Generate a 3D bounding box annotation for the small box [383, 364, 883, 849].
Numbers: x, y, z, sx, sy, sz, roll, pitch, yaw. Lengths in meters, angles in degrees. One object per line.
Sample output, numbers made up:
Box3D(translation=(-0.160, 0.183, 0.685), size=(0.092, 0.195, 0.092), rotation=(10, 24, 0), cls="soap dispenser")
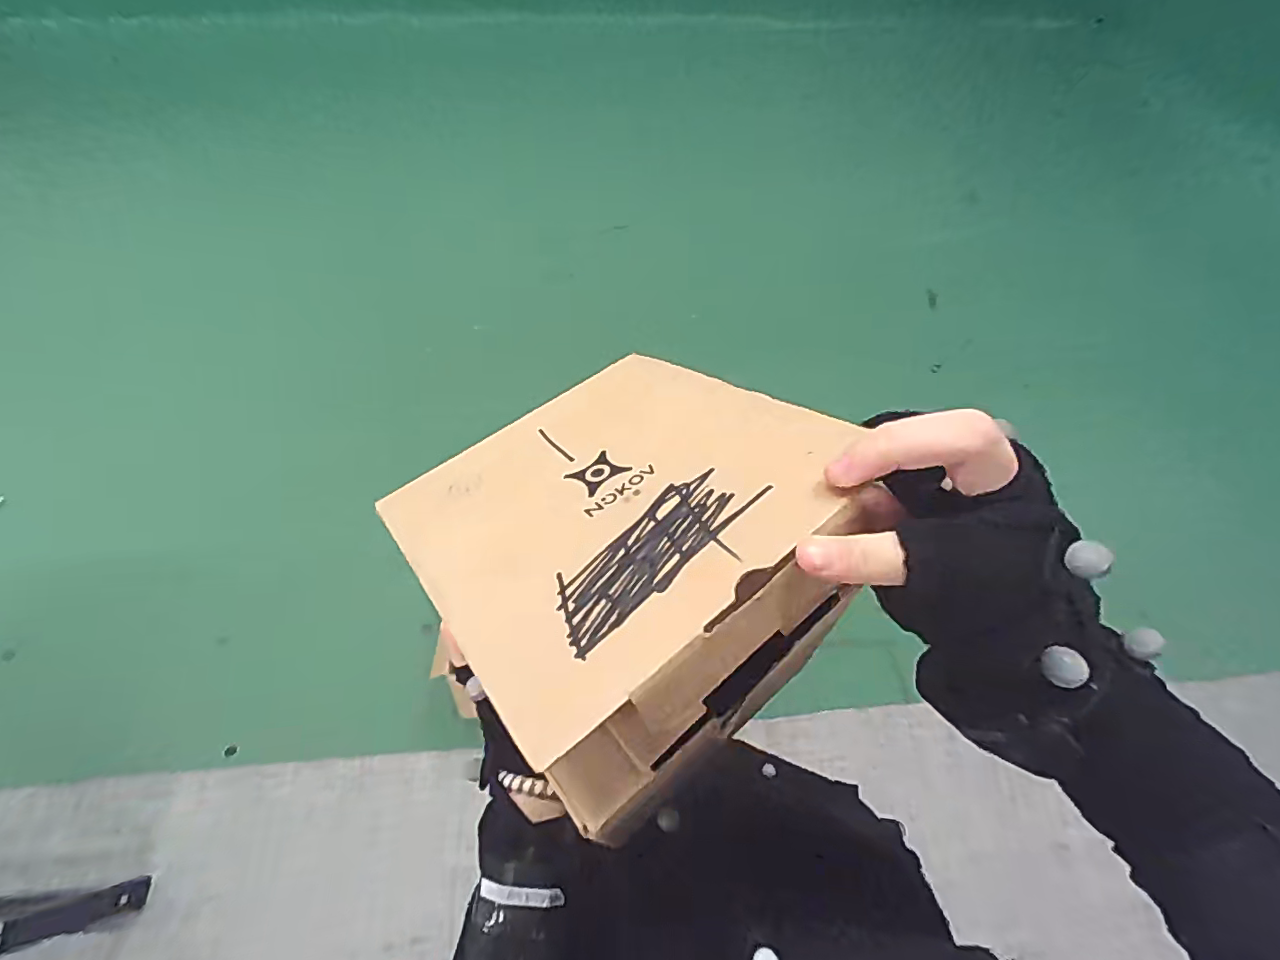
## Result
Box3D(translation=(-0.005, 0.073, 0.313), size=(0.168, 0.176, 0.179), rotation=(-35, 59, -21), cls="small box")
